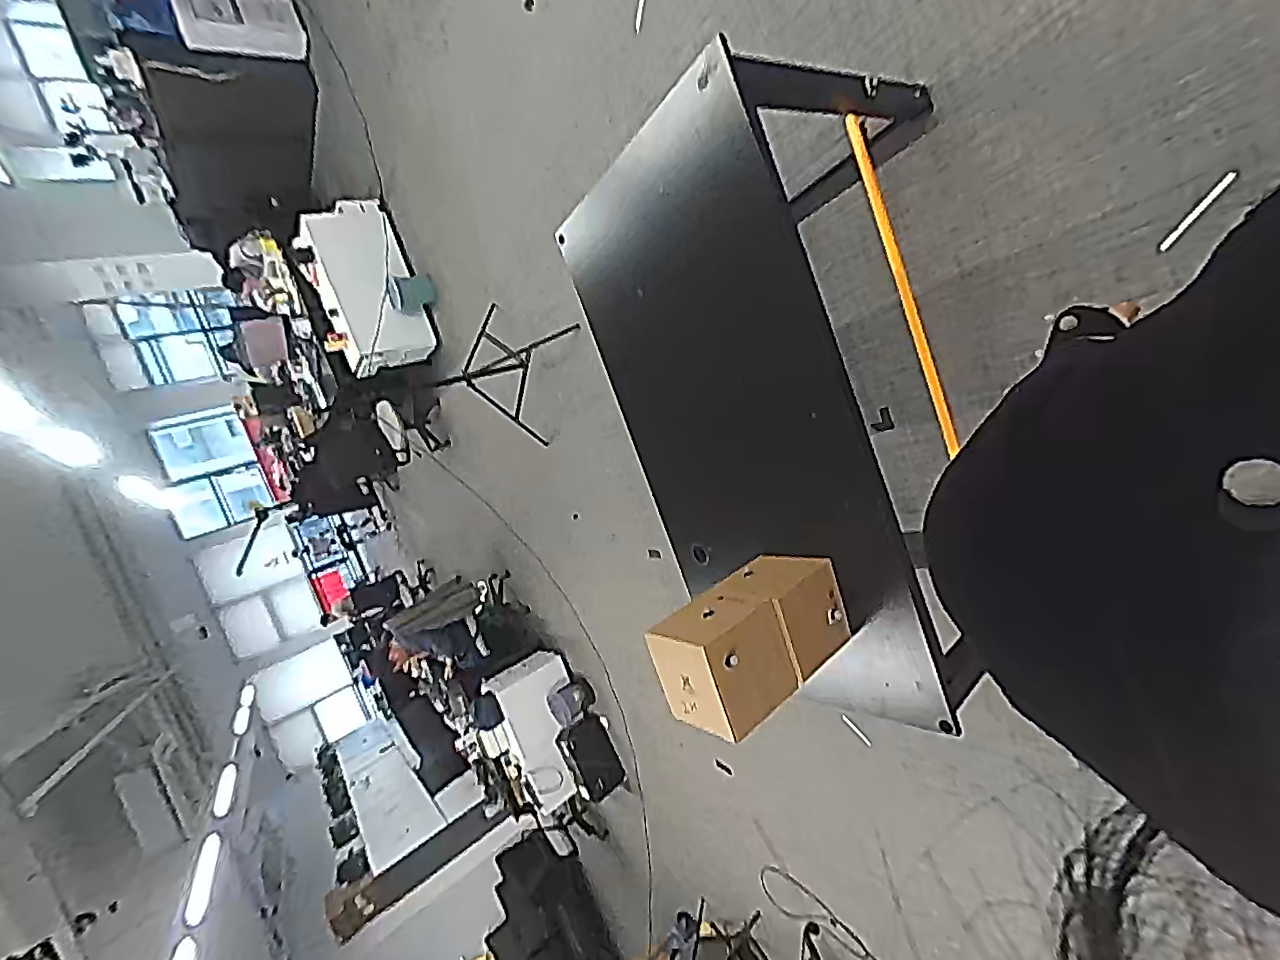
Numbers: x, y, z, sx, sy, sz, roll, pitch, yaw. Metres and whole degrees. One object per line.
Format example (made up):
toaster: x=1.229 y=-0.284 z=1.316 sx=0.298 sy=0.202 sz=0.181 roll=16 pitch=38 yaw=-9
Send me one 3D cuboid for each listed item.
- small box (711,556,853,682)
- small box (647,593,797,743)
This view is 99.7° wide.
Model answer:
small box: x=0.273 y=0.256 z=1.040 sx=0.179 sy=0.176 sz=0.168 roll=-9 pitch=103 yaw=55
small box: x=0.146 y=0.316 z=0.955 sx=0.168 sy=0.176 sz=0.179 roll=-8 pitch=103 yaw=56
